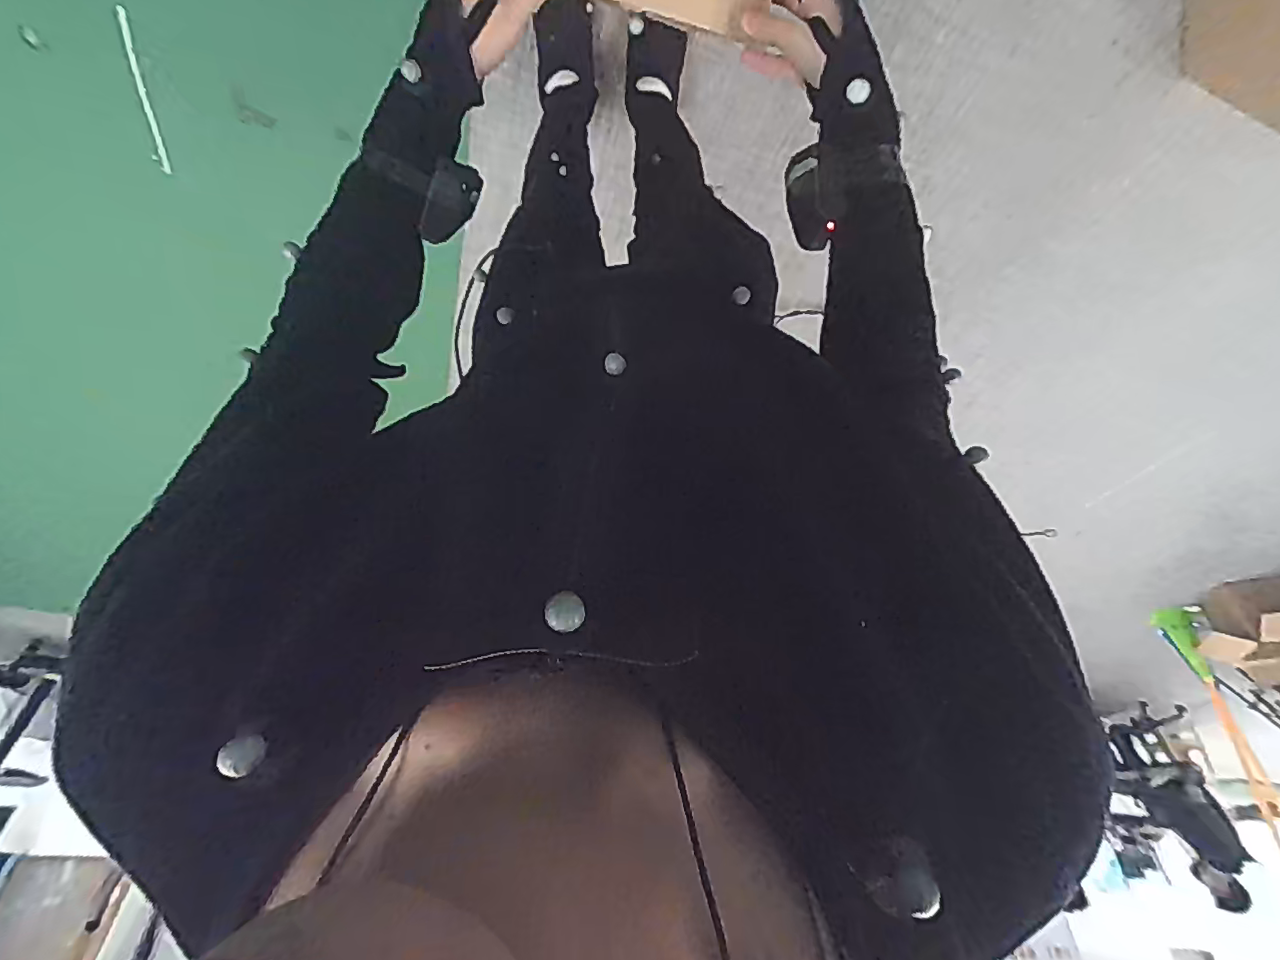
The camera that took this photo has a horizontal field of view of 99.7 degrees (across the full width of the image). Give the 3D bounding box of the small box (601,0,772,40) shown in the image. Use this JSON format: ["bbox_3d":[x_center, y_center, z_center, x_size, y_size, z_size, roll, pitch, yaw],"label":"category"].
[{"bbox_3d":[0.011,-0.462,0.407,0.179,0.176,0.168,-1,132,-22],"label":"small box"}]
